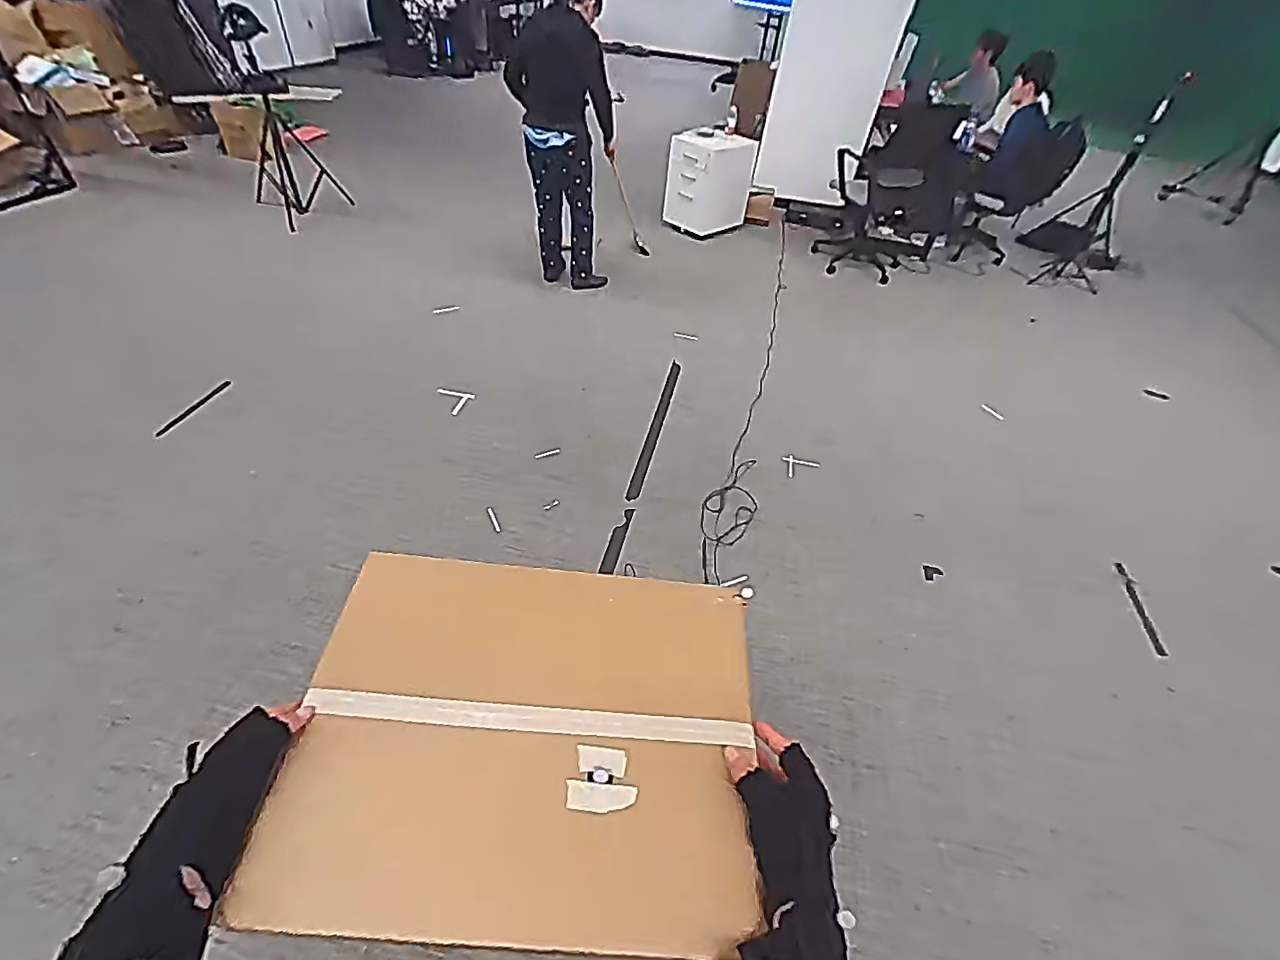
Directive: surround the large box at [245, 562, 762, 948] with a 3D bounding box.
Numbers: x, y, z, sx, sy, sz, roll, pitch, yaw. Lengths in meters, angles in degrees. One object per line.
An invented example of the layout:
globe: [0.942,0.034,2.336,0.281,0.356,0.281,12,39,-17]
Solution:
large box: [-0.110,0.321,0.620,0.408,0.320,0.320,7,50,-2]
